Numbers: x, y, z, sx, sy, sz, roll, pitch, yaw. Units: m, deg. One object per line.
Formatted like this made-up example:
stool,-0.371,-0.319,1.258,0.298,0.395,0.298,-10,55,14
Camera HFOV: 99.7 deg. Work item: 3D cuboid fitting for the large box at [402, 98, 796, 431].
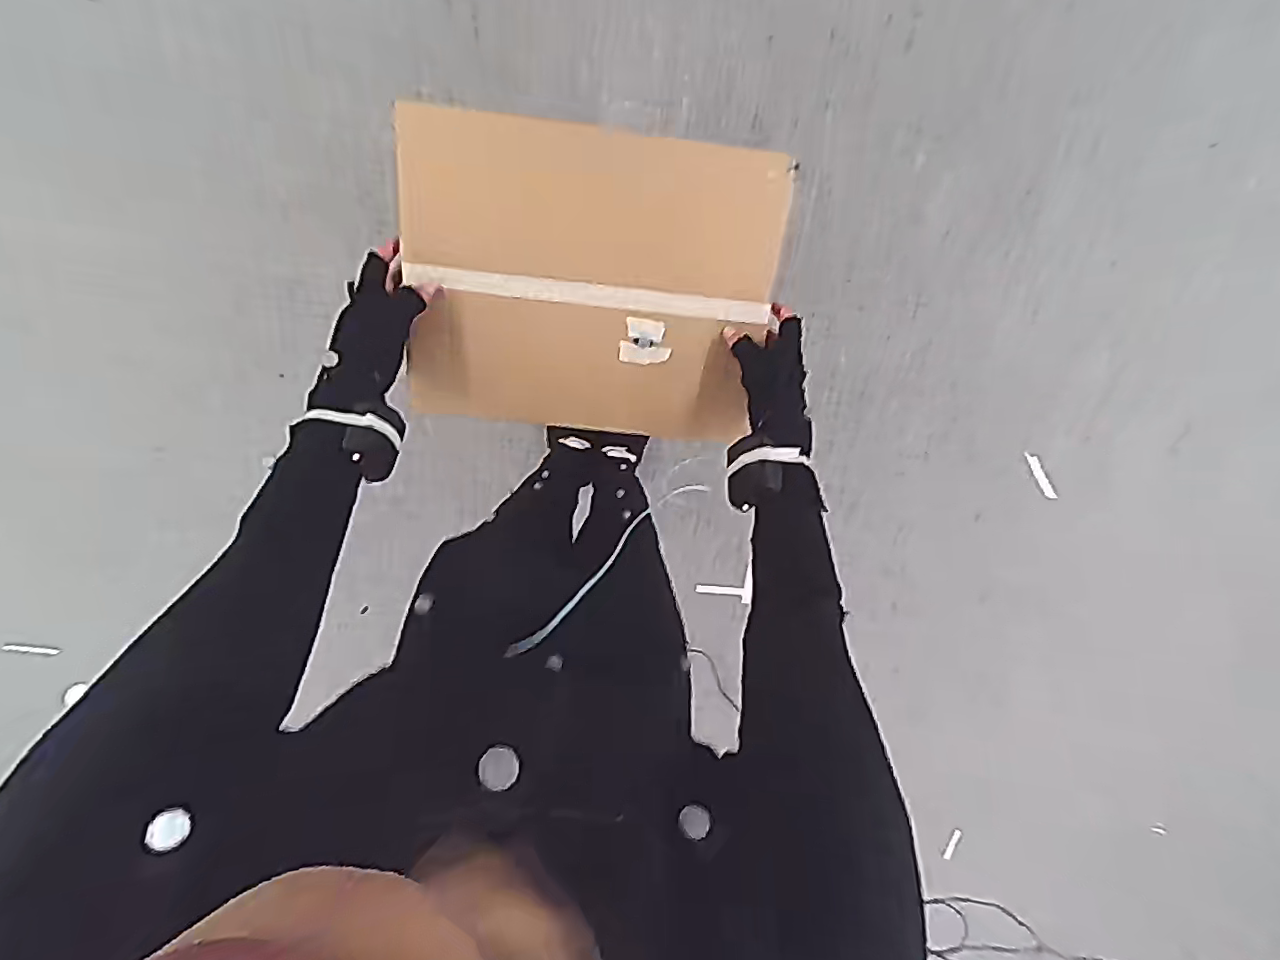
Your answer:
large box,-0.058,-0.272,0.733,0.408,0.320,0.320,6,113,-4
